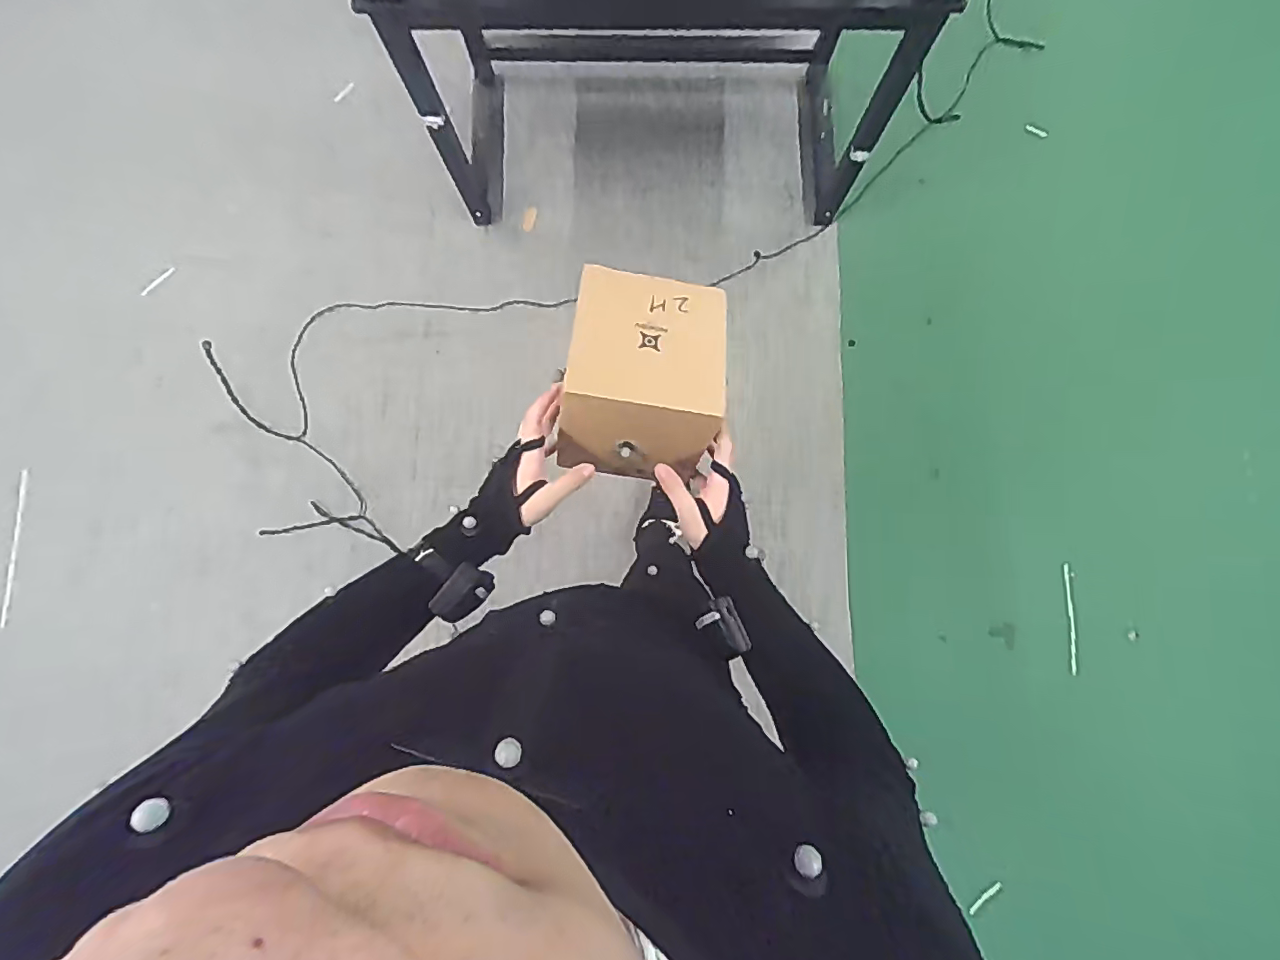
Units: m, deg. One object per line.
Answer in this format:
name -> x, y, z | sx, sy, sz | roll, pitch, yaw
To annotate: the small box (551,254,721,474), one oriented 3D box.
small box -> -0.009, -0.124, 0.632 | 0.168, 0.176, 0.179 | 9, 63, -7
